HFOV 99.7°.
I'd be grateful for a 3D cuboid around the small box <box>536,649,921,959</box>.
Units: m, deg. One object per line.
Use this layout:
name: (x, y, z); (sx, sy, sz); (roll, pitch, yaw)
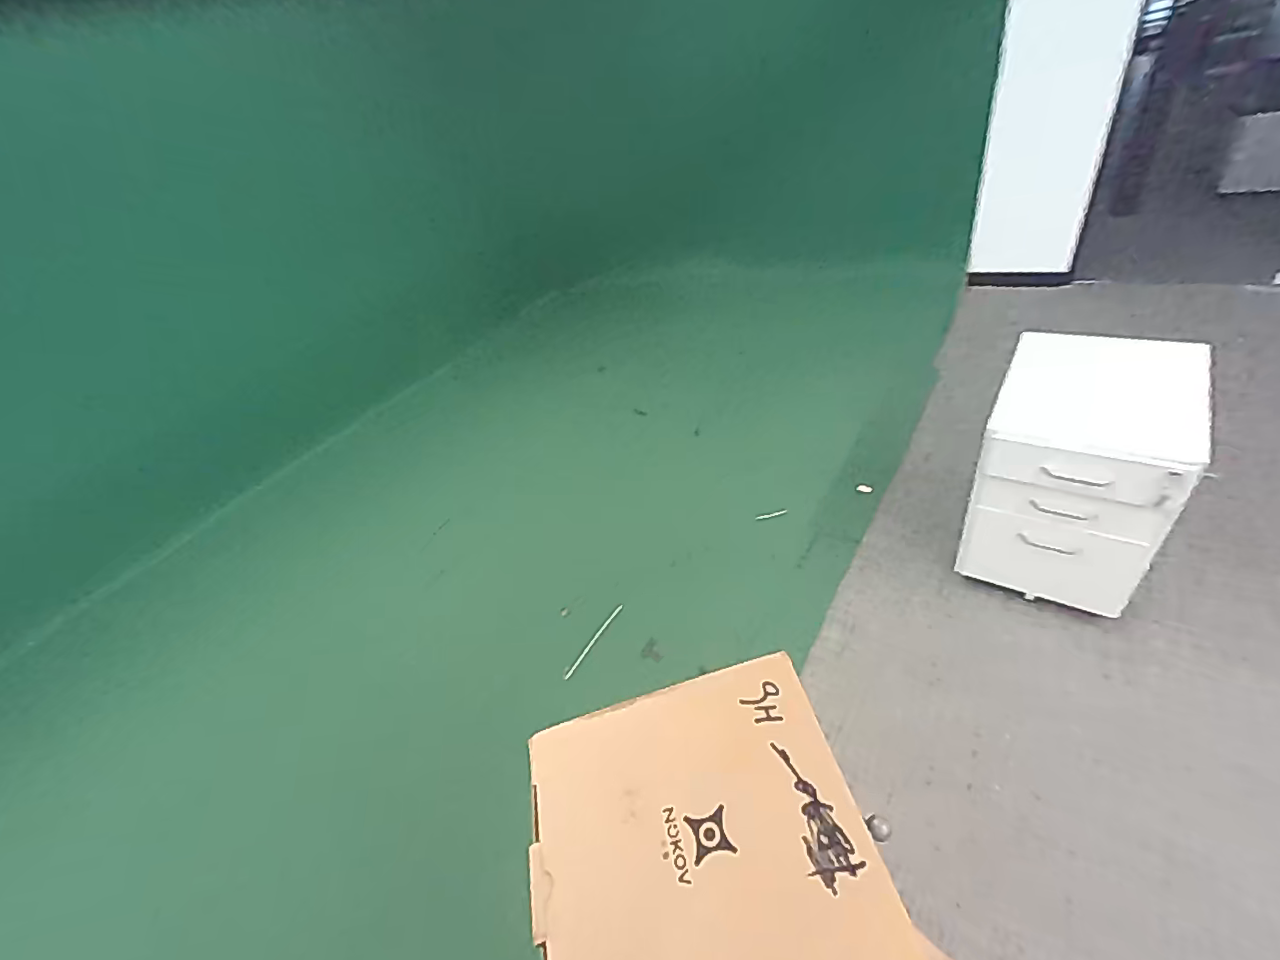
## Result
small box: (0.048, 0.243, 0.348); (0.179, 0.176, 0.168); (-18, 44, 1)
